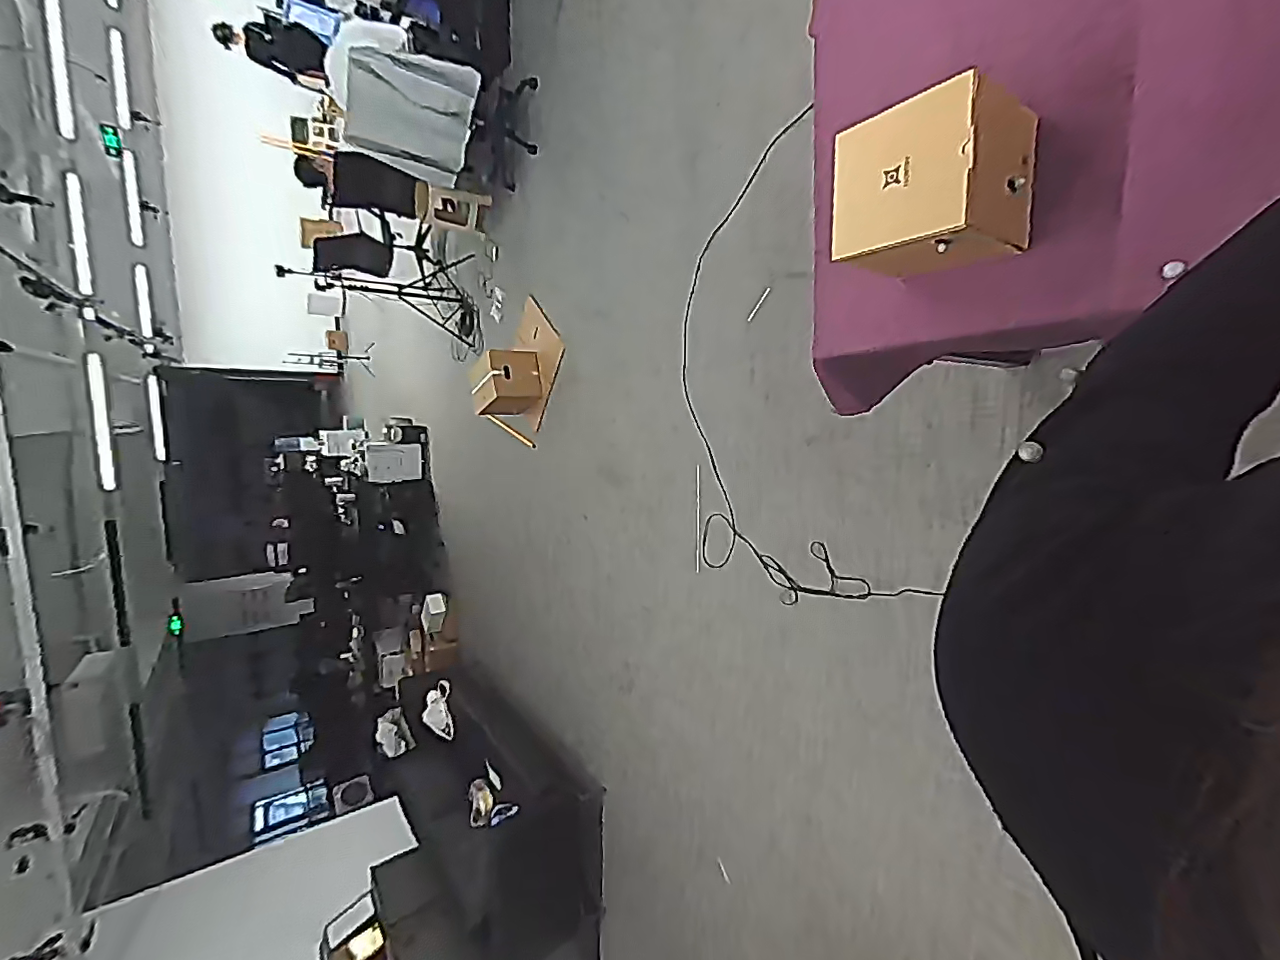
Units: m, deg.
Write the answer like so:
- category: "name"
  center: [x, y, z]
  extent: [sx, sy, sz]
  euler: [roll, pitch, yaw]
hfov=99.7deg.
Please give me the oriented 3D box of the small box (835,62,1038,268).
- category: "small box"
  center: [0.386, -0.391, 0.715]
  extent: [0.179, 0.176, 0.168]
  euler: [9, 101, 54]
